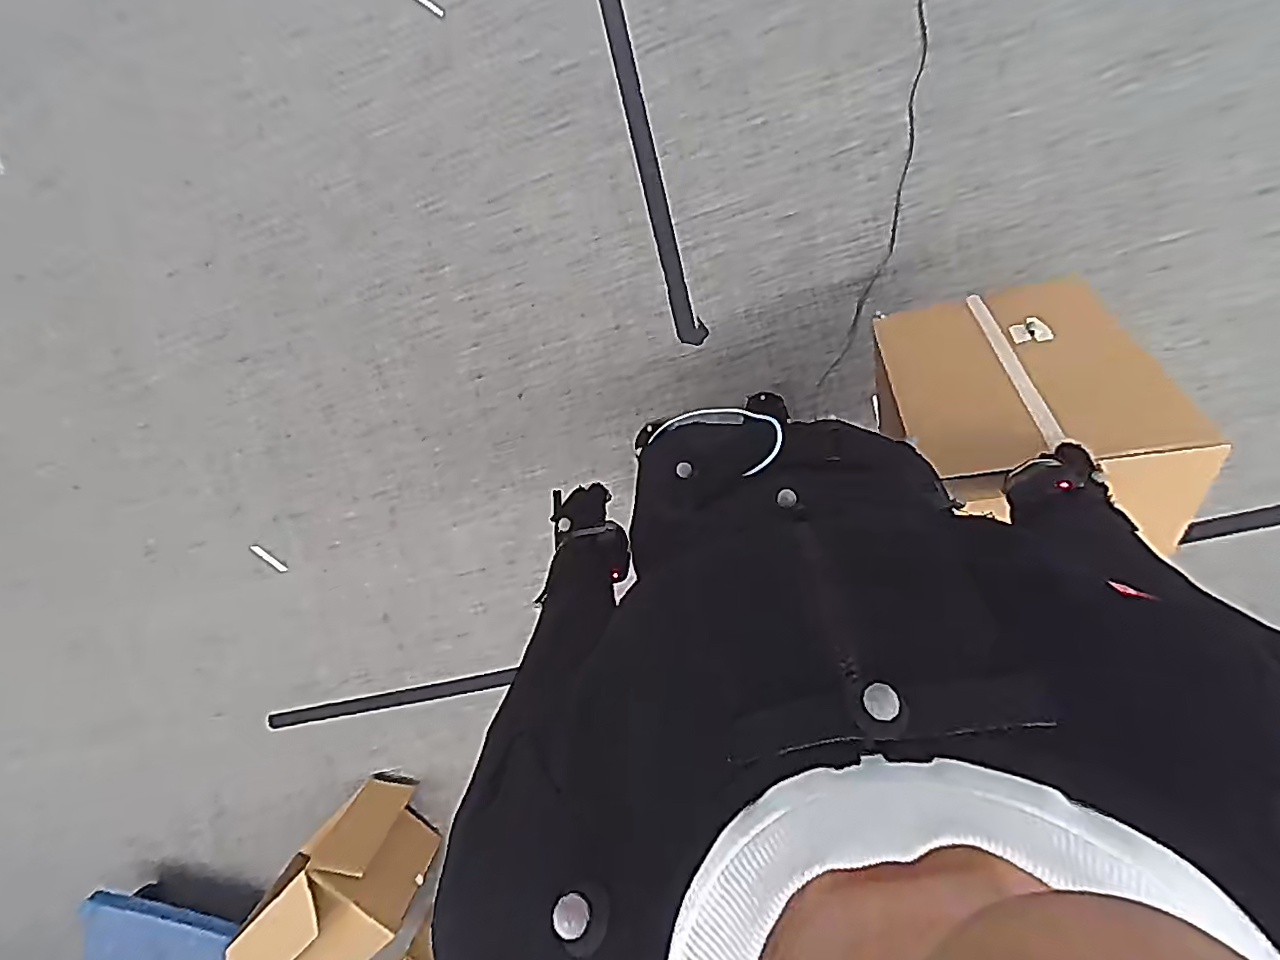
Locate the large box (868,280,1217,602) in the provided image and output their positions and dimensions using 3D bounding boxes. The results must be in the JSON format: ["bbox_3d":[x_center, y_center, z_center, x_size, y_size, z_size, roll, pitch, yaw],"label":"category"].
[{"bbox_3d":[0.584,-0.061,0.889,0.320,0.408,0.320,-9,133,18],"label":"large box"}]
